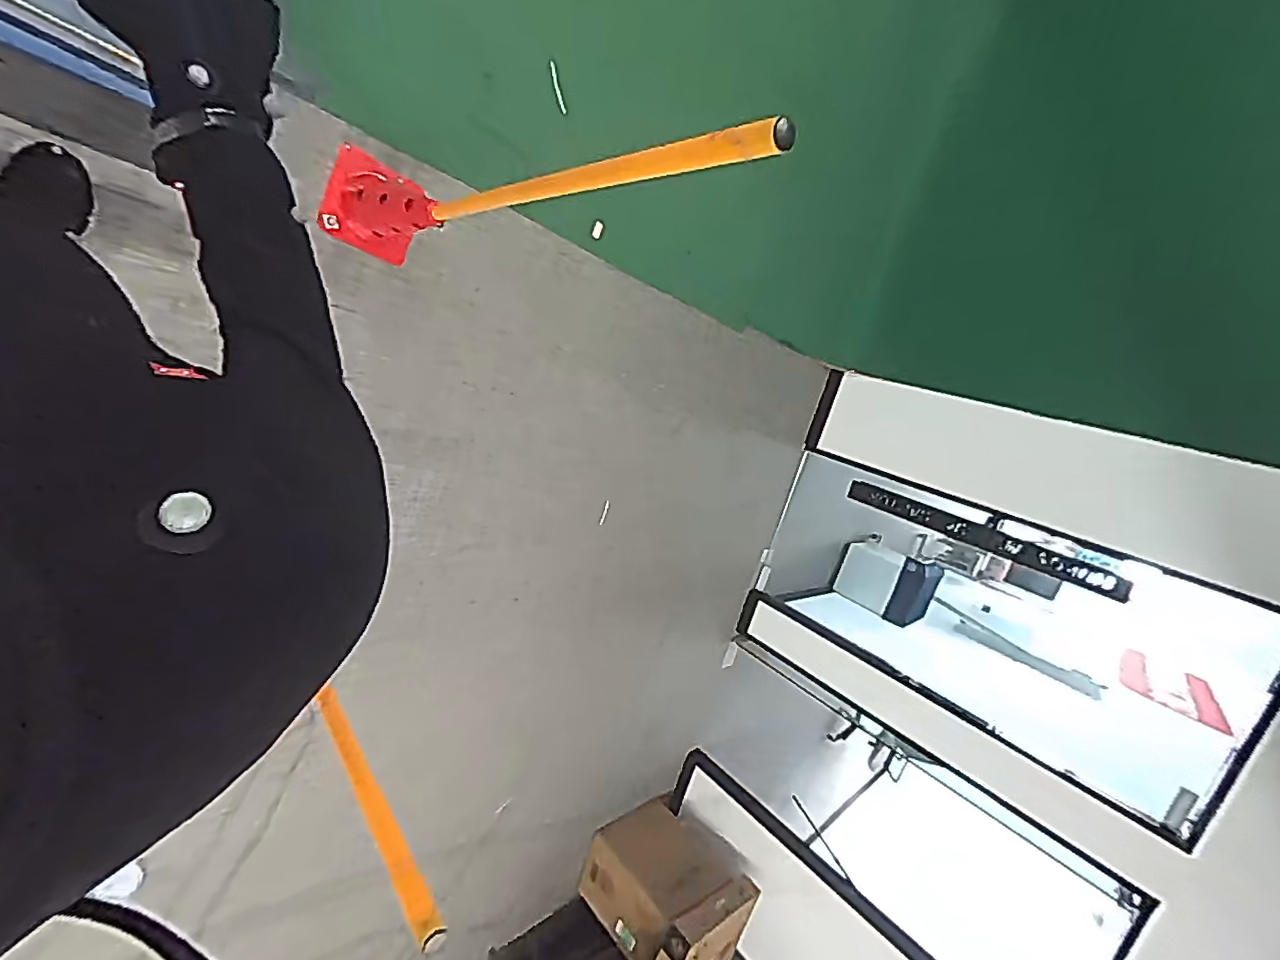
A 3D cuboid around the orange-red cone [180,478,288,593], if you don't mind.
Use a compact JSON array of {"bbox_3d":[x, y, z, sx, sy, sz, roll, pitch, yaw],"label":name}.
[{"bbox_3d":[-0.874,0.153,1.209,0.199,0.360,0.198,7,105,-47],"label":"orange-red cone"}]
